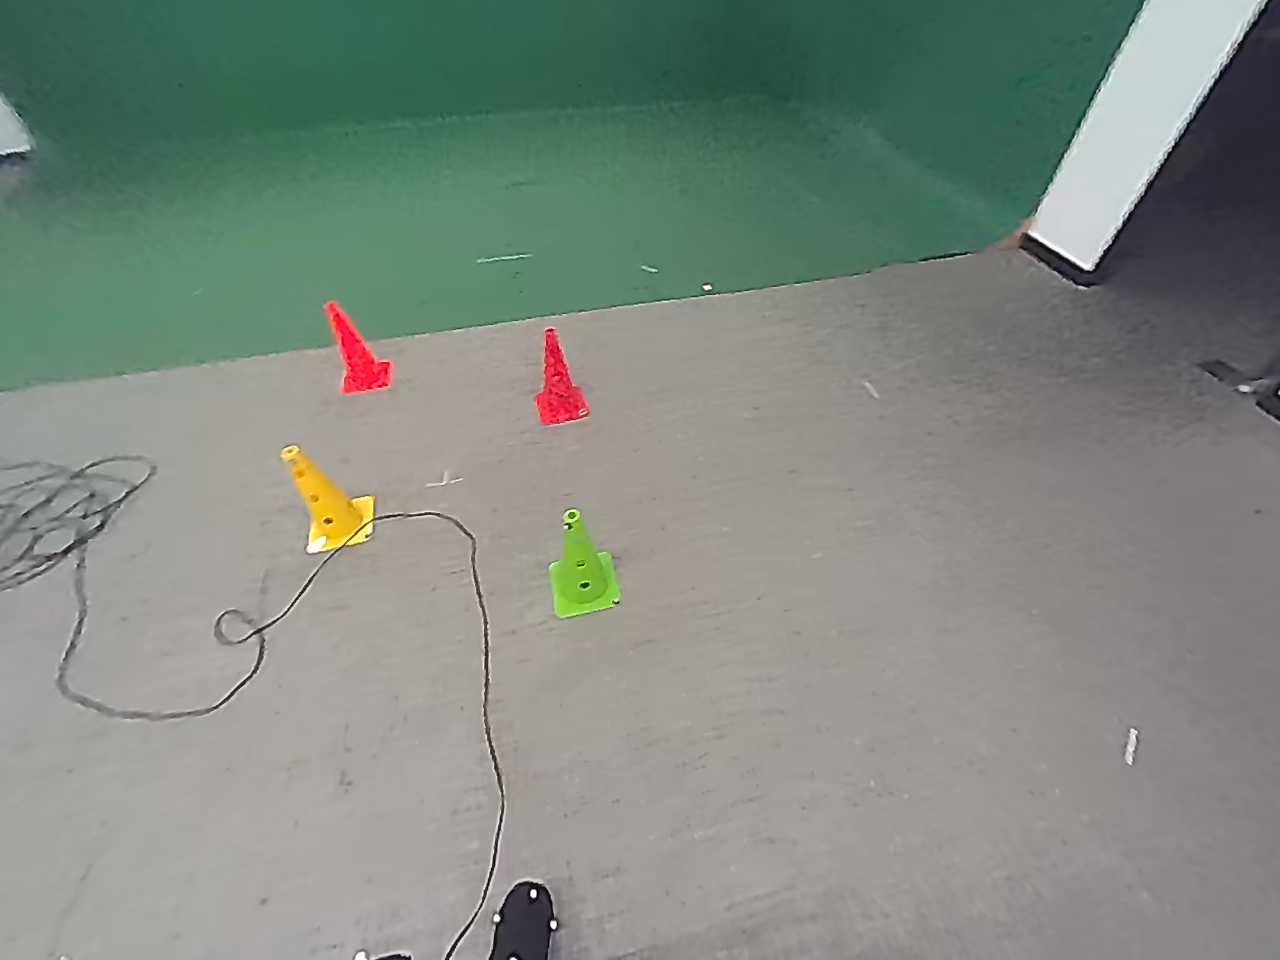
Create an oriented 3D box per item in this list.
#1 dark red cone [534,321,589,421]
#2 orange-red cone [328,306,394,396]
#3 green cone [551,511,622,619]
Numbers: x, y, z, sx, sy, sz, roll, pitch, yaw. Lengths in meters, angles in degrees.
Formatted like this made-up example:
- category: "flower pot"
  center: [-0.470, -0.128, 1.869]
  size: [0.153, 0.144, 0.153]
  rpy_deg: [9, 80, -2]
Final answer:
- category: "dark red cone"
  center: [-0.327, -0.431, 2.082]
  size: [0.202, 0.394, 0.201]
  rpy_deg: [-14, 49, -11]
- category: "orange-red cone"
  center: [-1.196, -0.554, 2.246]
  size: [0.198, 0.360, 0.199]
  rpy_deg: [-11, 50, -6]
- category: "green cone"
  center: [-0.175, 0.209, 1.547]
  size: [0.202, 0.368, 0.200]
  rpy_deg: [-12, 49, -7]
